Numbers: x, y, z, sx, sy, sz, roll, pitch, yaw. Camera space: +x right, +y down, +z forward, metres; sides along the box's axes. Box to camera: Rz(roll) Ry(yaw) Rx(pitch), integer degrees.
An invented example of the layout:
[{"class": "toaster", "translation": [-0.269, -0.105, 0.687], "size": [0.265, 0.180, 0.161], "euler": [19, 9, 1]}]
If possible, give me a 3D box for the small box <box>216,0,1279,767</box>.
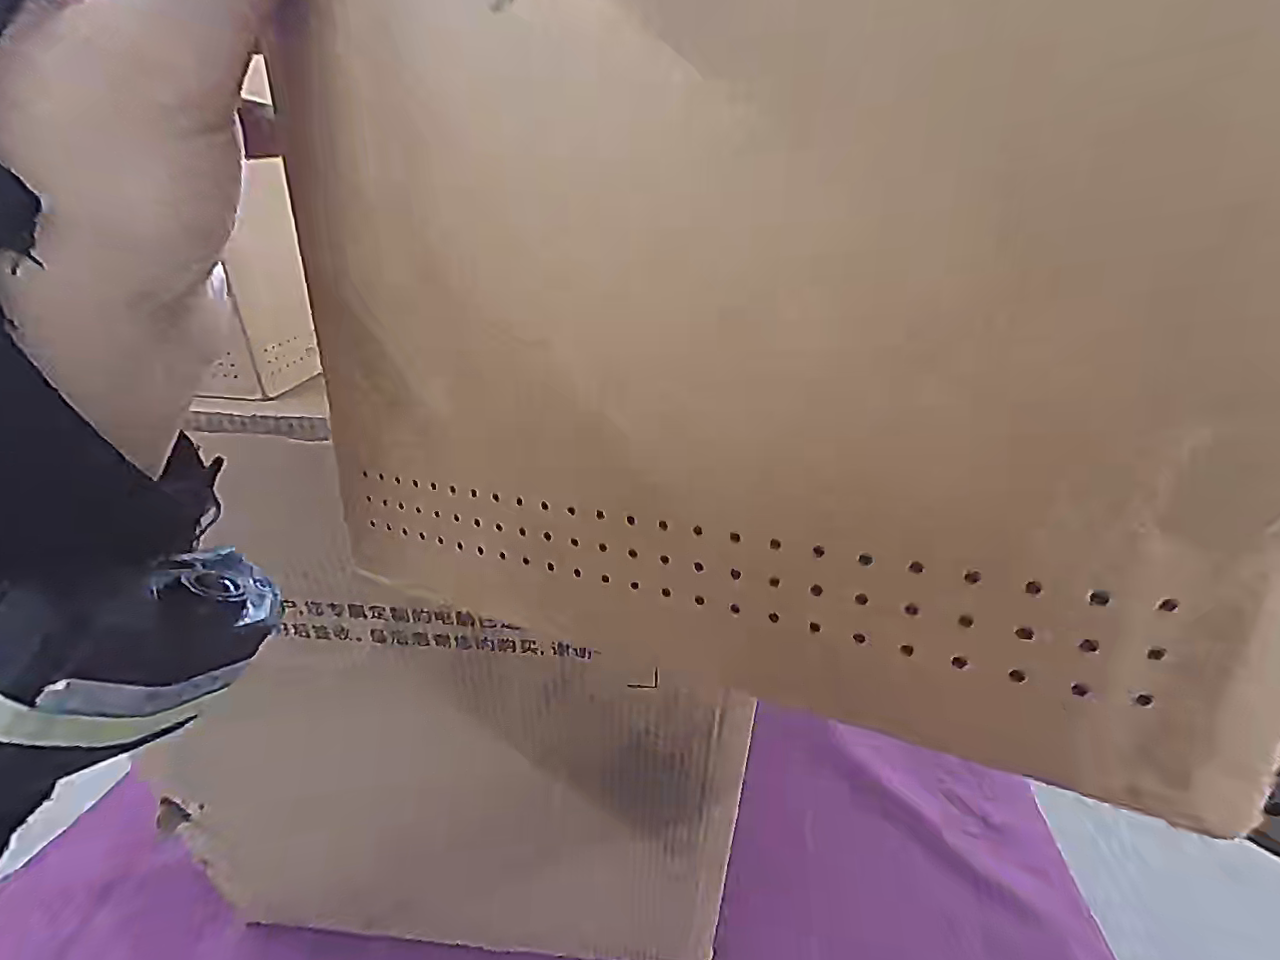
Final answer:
[{"class": "small box", "translation": [0.033, -0.064, 0.143], "size": [0.179, 0.176, 0.168], "euler": [6, 17, 29]}]
